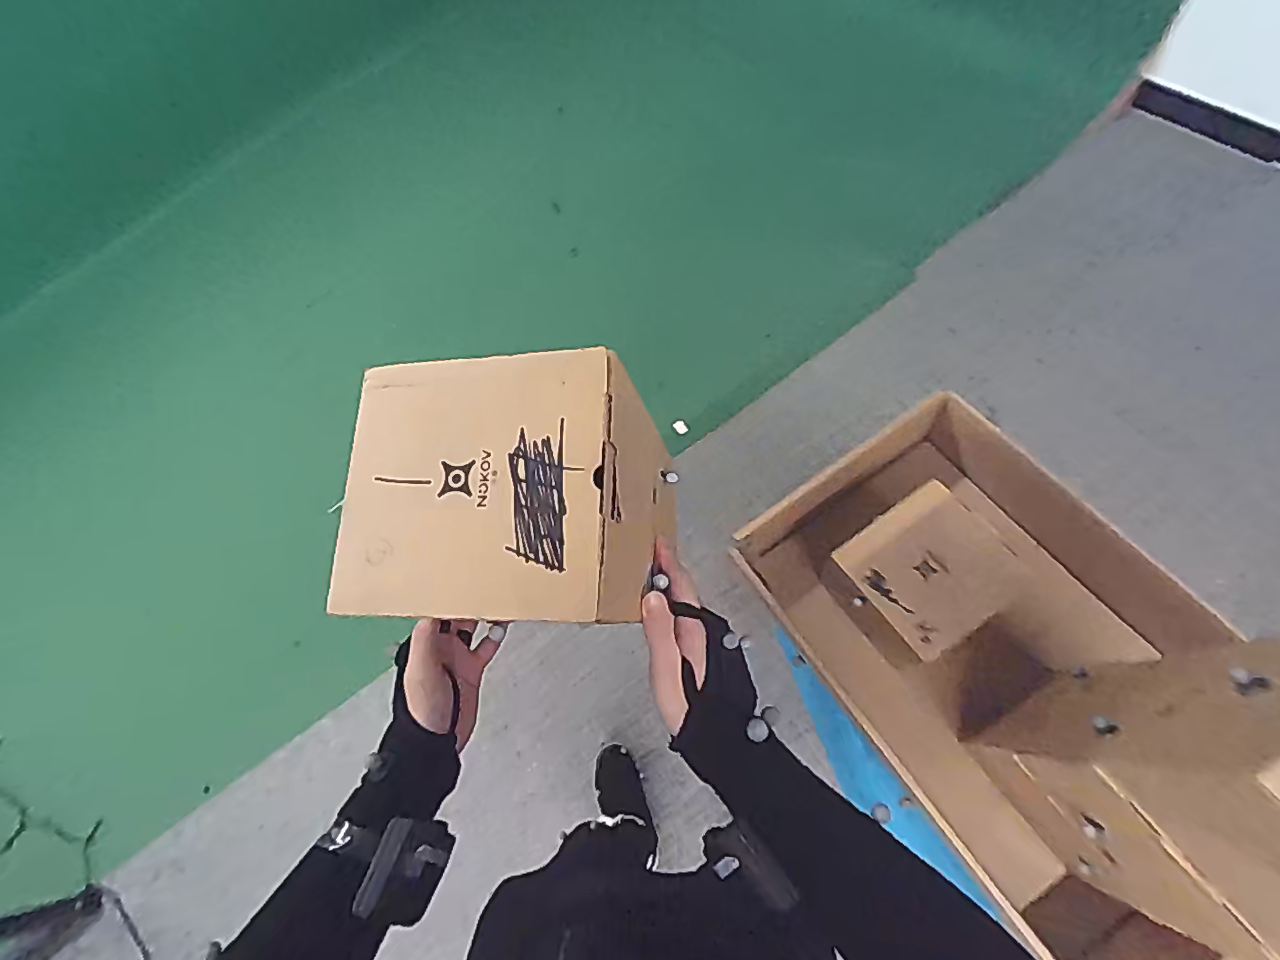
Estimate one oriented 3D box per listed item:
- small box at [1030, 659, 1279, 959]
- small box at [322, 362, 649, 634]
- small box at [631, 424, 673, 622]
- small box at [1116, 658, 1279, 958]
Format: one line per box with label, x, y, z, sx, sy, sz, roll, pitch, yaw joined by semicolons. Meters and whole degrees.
small box;0.493;0.278;0.465;0.179;0.176;0.168;-34;63;-2
small box;-0.092;0.028;0.408;0.179;0.176;0.168;-3;74;12
small box;-0.060;0.059;0.567;0.168;0.176;0.179;-6;74;10
small box;0.455;0.210;0.319;0.168;0.176;0.179;-34;63;-2
